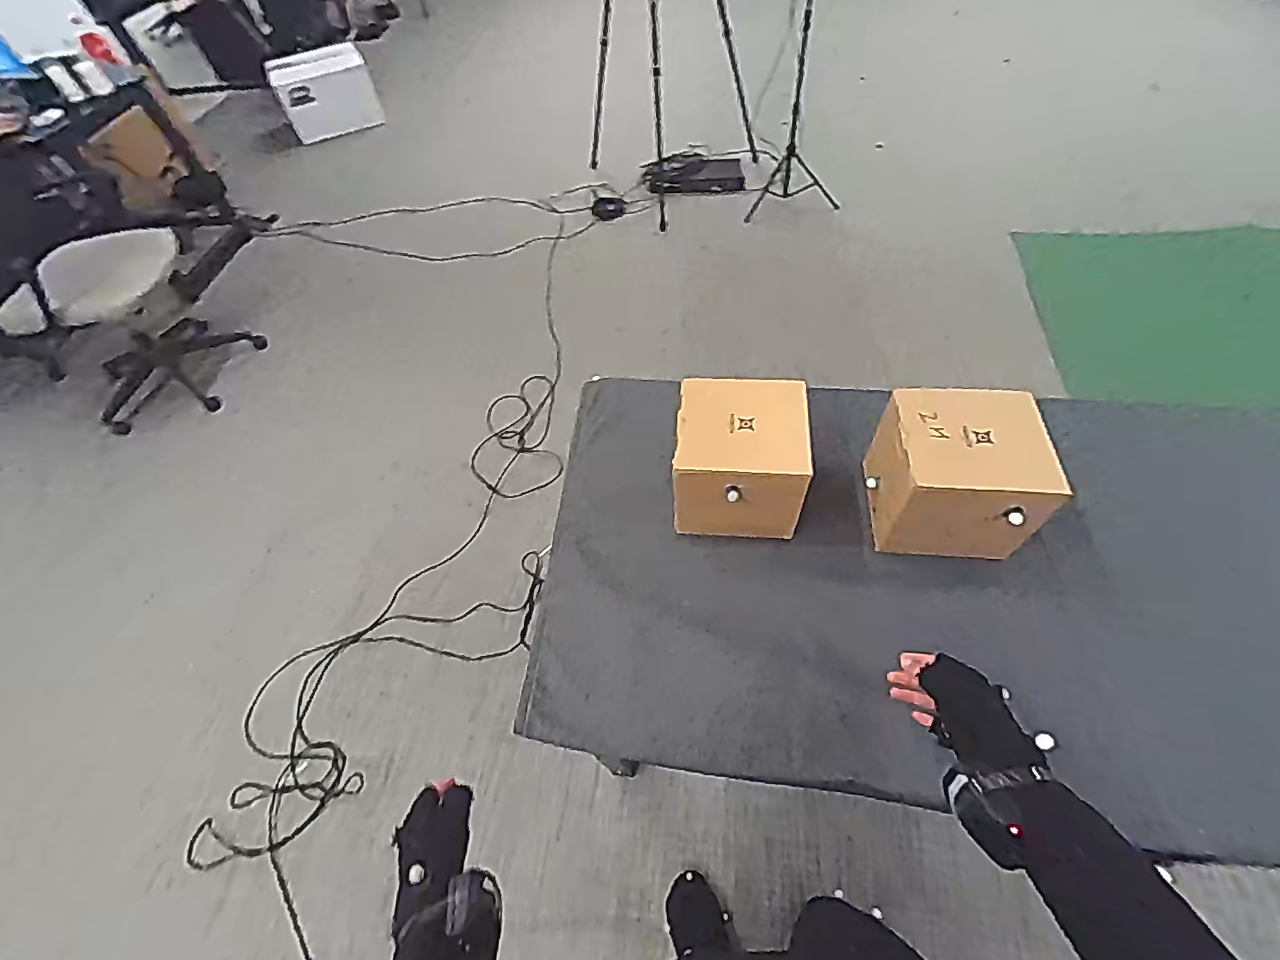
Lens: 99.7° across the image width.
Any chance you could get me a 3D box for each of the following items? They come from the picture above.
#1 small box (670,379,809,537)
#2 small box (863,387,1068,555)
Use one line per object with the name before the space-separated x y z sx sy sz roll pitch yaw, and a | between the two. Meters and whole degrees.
small box | 0.140 -0.027 0.789 0.179 0.176 0.168 2 56 8
small box | 0.422 -0.008 0.739 0.179 0.176 0.168 2 55 8
